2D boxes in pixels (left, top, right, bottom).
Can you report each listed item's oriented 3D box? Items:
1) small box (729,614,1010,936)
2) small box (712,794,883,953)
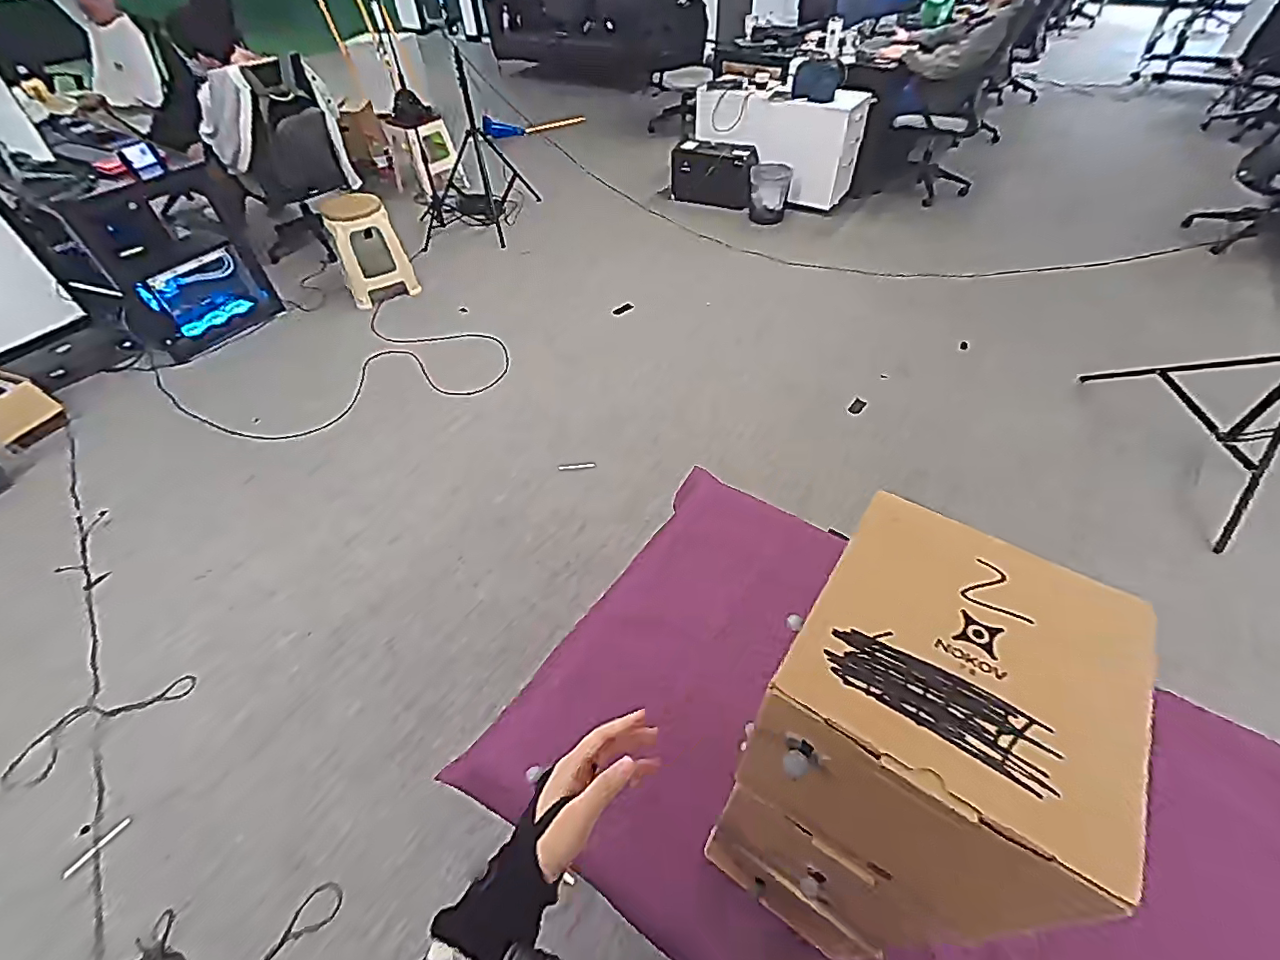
[{"bbox_3d":[0.191,0.264,0.486,0.168,0.176,0.179,26,53,23],"label":"small box"},{"bbox_3d":[0.192,0.380,0.603,0.168,0.176,0.179,28,53,24],"label":"small box"}]
